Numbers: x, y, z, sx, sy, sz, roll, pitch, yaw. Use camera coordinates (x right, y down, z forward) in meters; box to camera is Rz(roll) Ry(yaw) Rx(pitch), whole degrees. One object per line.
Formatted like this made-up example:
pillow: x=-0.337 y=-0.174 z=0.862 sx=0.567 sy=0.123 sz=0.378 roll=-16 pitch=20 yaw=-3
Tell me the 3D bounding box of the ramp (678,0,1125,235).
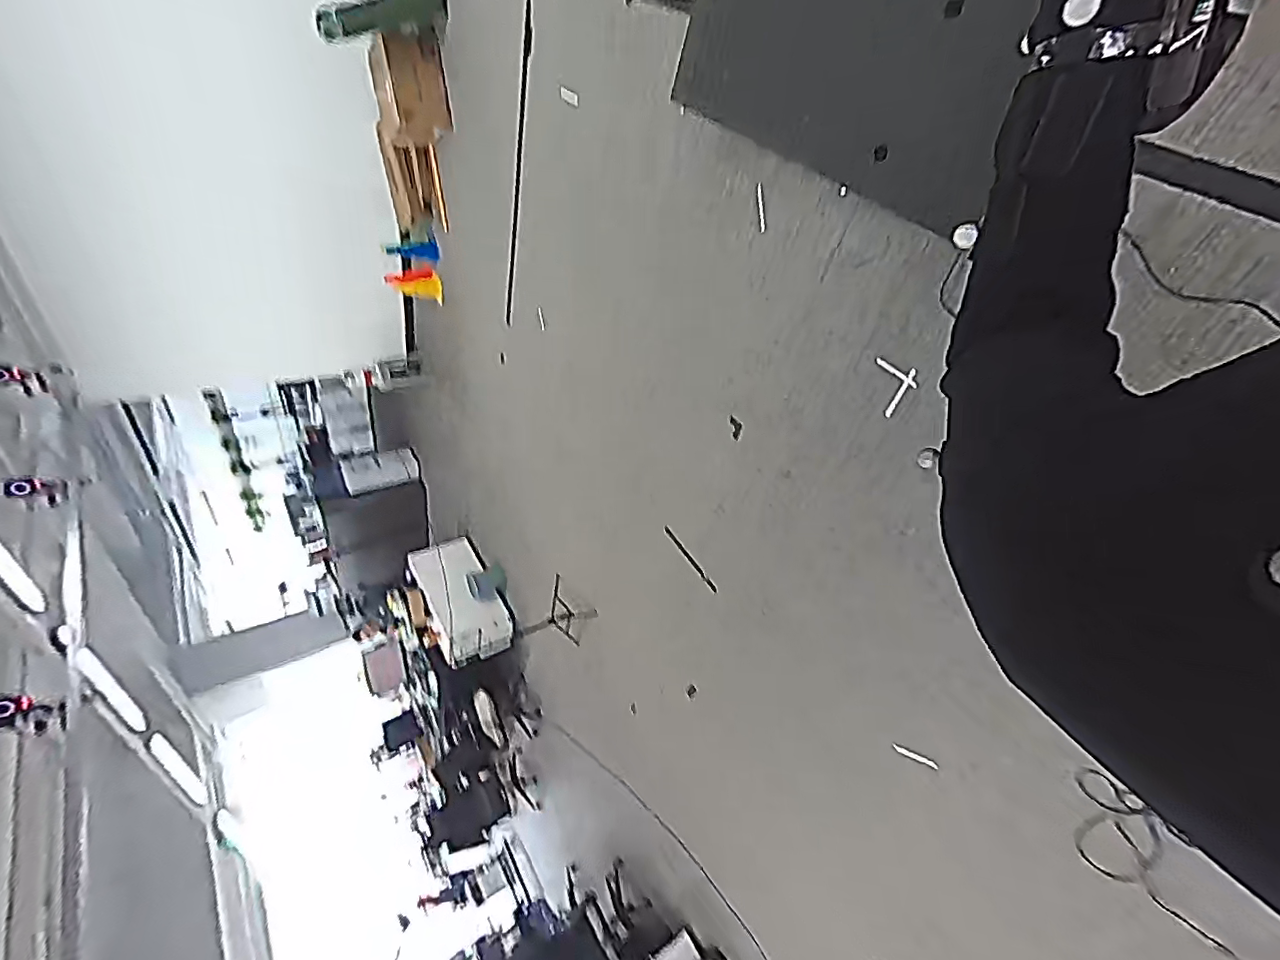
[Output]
ramp: x=0.520 y=-1.065 z=1.337 sx=0.991 sy=0.206 sz=0.509 roll=50 pitch=139 yaw=31
